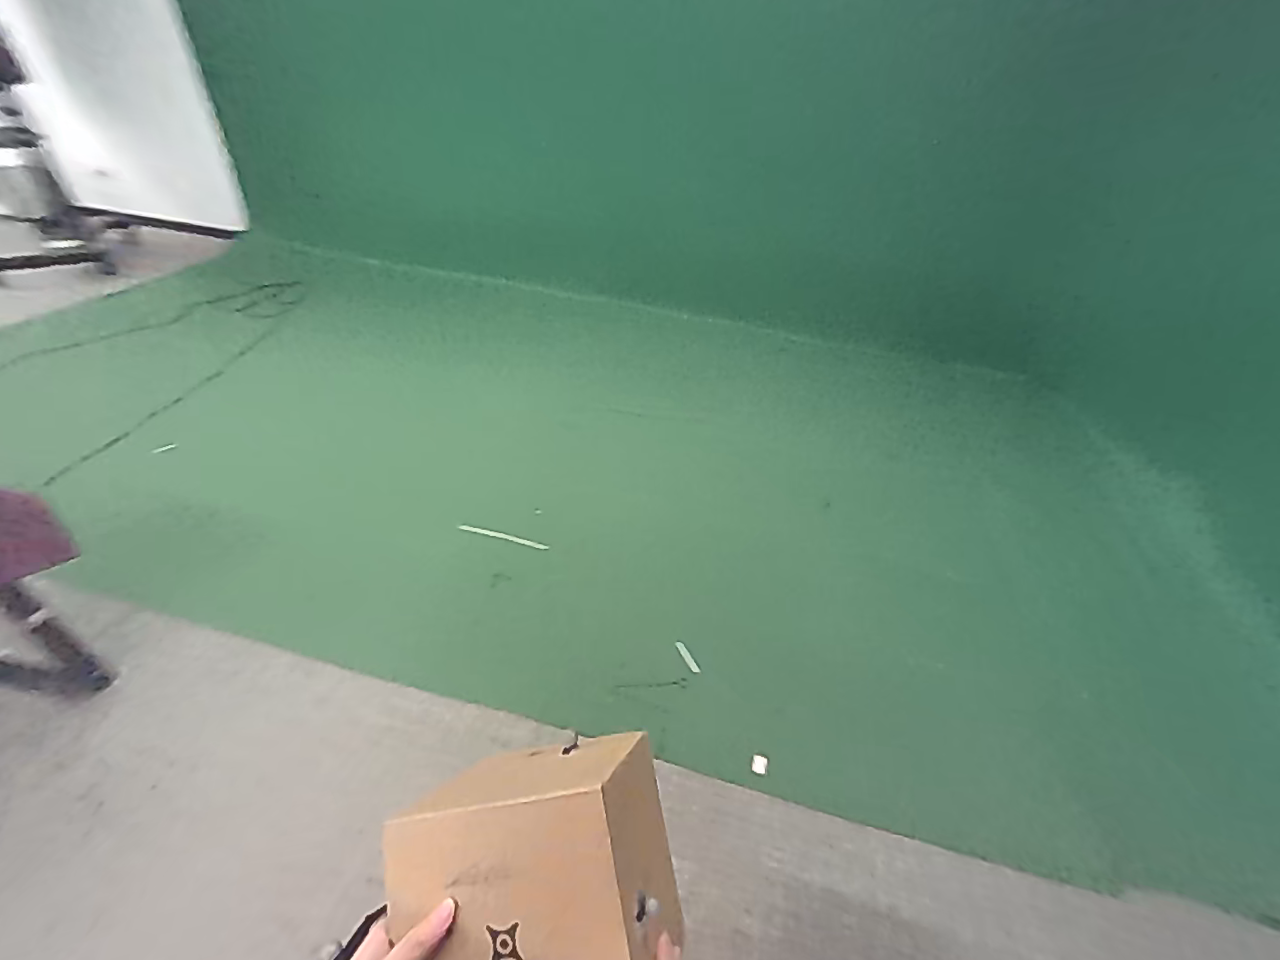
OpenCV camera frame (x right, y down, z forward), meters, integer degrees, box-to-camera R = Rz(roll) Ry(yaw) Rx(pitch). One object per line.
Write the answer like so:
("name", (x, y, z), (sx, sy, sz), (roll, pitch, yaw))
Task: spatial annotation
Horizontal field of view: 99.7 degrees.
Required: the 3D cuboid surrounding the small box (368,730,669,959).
("small box", (-0.081, 0.320, 0.426), (0.168, 0.176, 0.179), (-14, 76, 8))
